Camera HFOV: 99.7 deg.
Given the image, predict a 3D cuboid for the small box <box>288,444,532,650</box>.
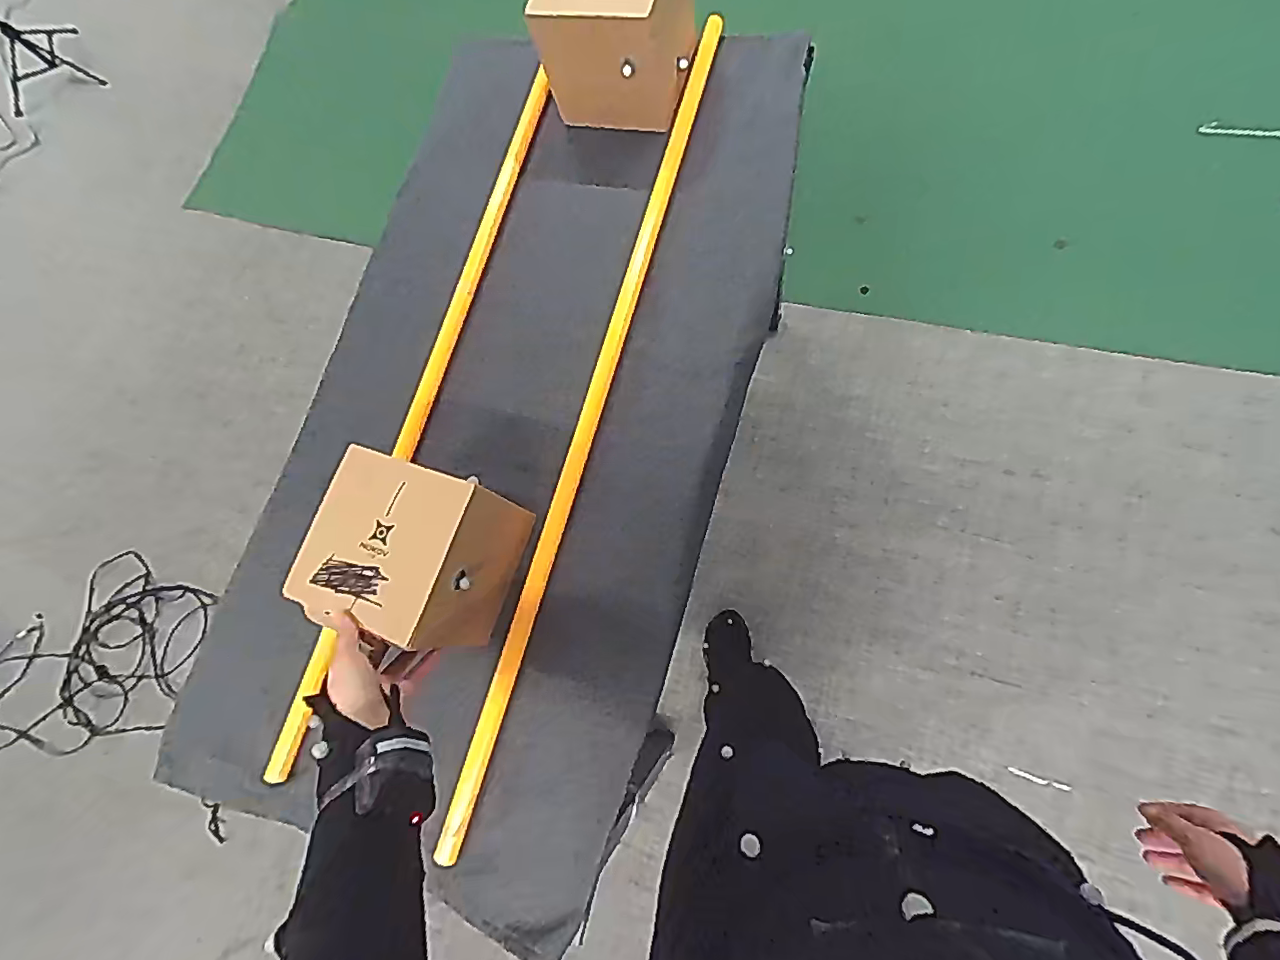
[{"bbox_3d":[-0.249,0.083,0.631,0.168,0.176,0.179,17,79,15],"label":"small box"}]
